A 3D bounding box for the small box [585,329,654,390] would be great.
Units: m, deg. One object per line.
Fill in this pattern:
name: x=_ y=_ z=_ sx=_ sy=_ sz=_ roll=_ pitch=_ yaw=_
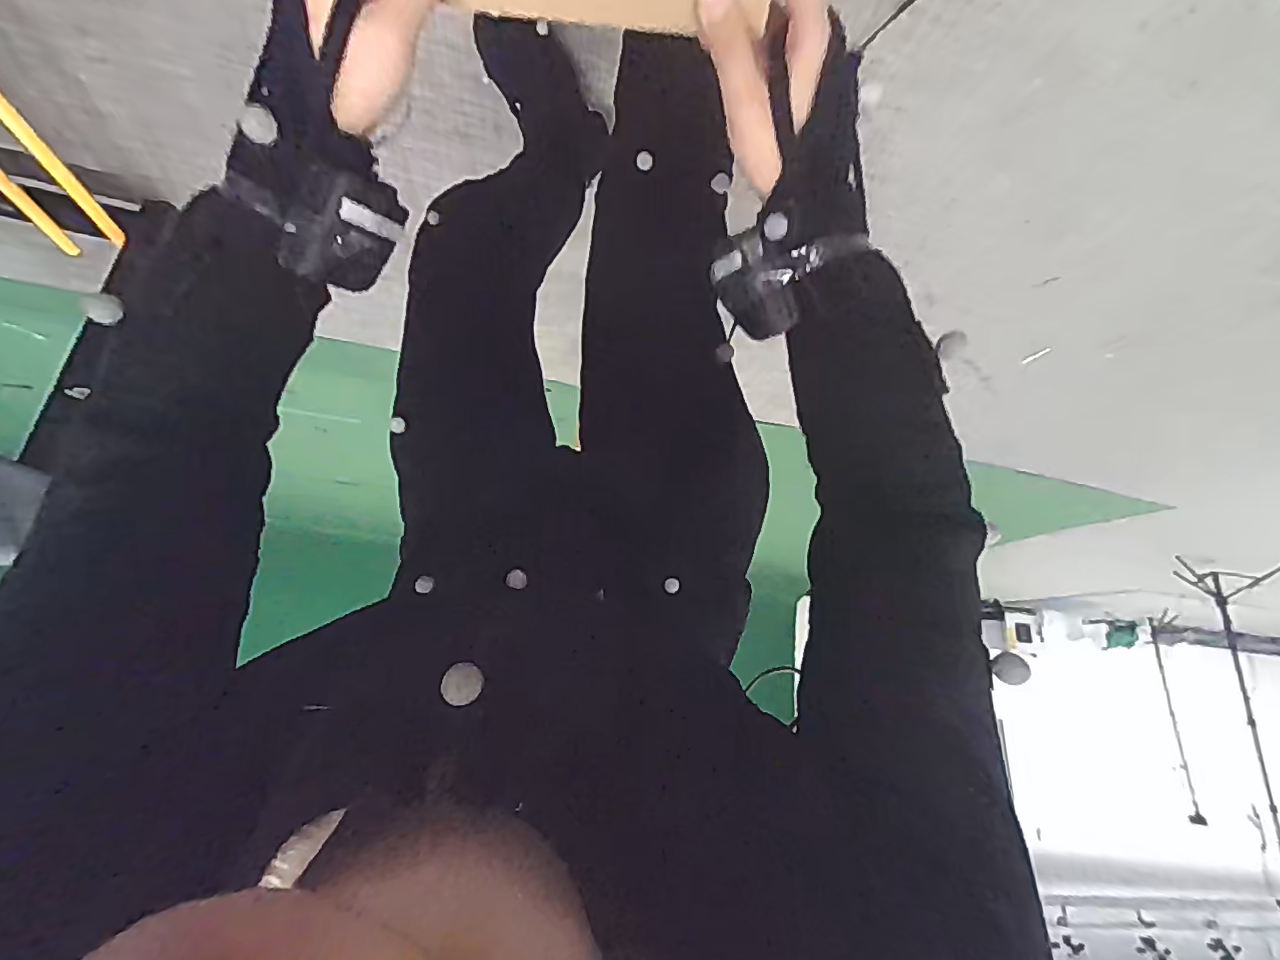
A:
small box: x=-0.056 y=-0.281 z=1.436 sx=0.168 sy=0.176 sz=0.179 roll=6 pitch=163 yaw=-2
